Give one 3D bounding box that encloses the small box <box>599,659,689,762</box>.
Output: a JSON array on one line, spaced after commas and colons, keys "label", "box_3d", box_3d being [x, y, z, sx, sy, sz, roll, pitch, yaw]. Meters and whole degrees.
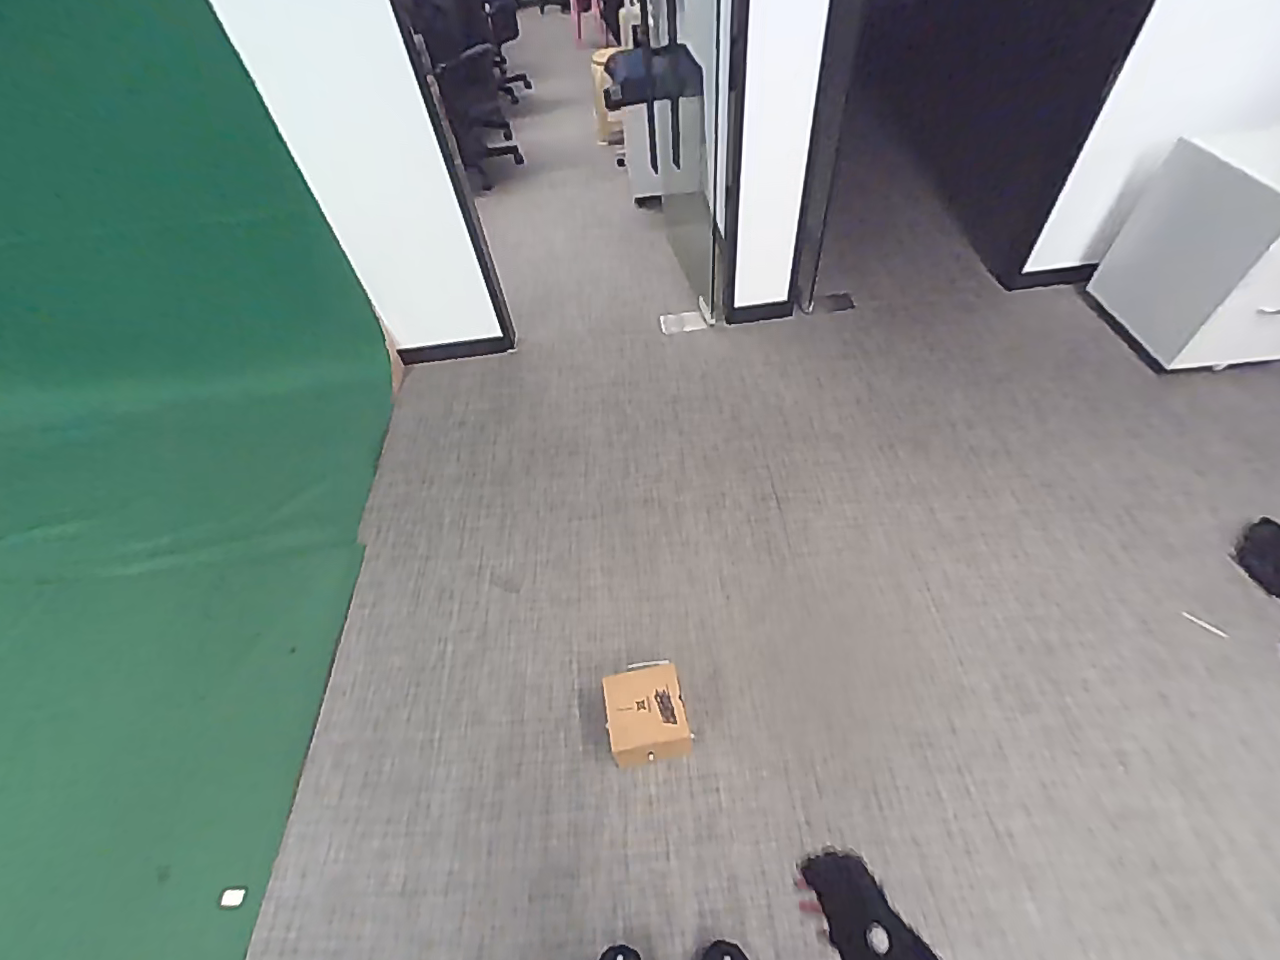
[{"label": "small box", "box_3d": [0.009, 0.550, 1.285, 0.179, 0.176, 0.168, -13, 51, -5]}]
